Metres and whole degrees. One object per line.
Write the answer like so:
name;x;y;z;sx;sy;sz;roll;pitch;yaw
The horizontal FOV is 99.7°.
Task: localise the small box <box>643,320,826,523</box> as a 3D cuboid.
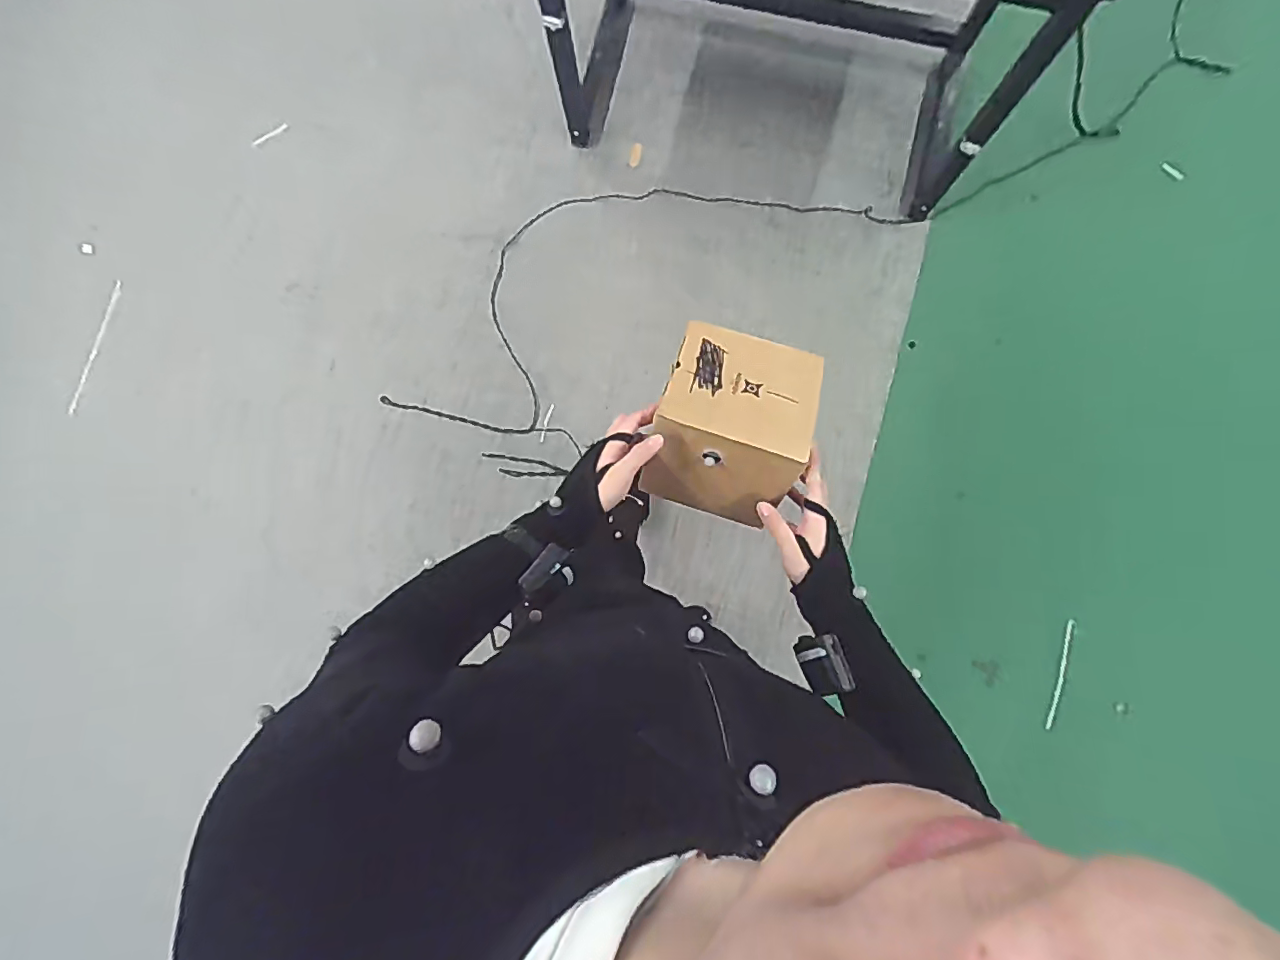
small box;0.111;-0.067;0.687;0.179;0.176;0.168;18;59;4
